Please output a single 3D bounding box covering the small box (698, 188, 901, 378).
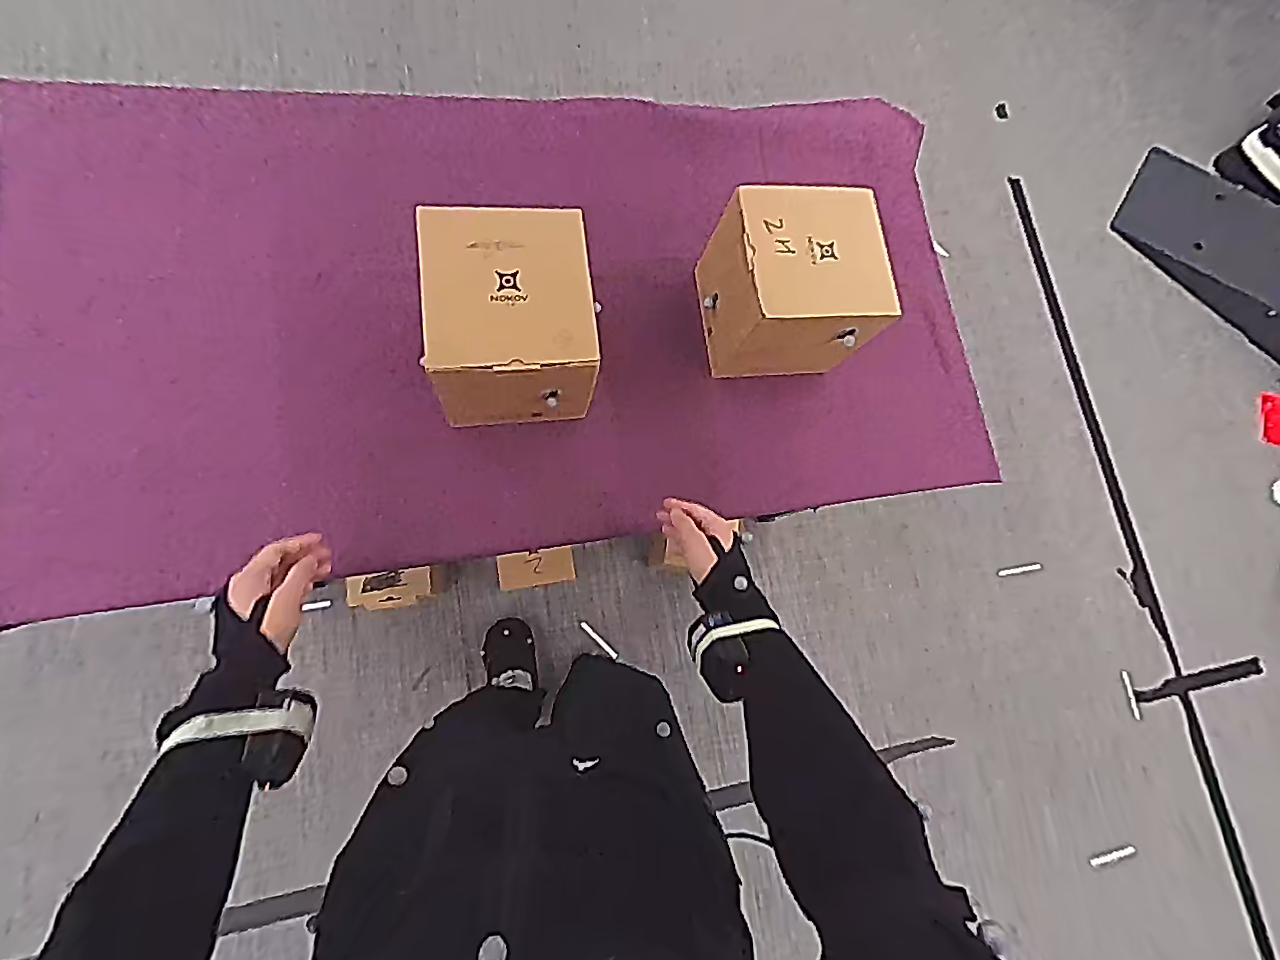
[{"bbox_3d":[0.190,-0.239,0.688,0.179,0.176,0.168,-5,79,-12],"label":"small box"}]

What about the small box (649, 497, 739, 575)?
[{"bbox_3d":[0.132,0.146,1.358,0.179,0.176,0.168,9,77,-9],"label":"small box"}]

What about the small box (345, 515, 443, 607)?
[{"bbox_3d":[-0.543,0.184,1.211,0.168,0.176,0.179,-6,79,-13],"label":"small box"}]

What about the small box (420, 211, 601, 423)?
[{"bbox_3d":[-0.142,-0.170,0.607,0.168,0.176,0.179,-6,78,-14],"label":"small box"}]
